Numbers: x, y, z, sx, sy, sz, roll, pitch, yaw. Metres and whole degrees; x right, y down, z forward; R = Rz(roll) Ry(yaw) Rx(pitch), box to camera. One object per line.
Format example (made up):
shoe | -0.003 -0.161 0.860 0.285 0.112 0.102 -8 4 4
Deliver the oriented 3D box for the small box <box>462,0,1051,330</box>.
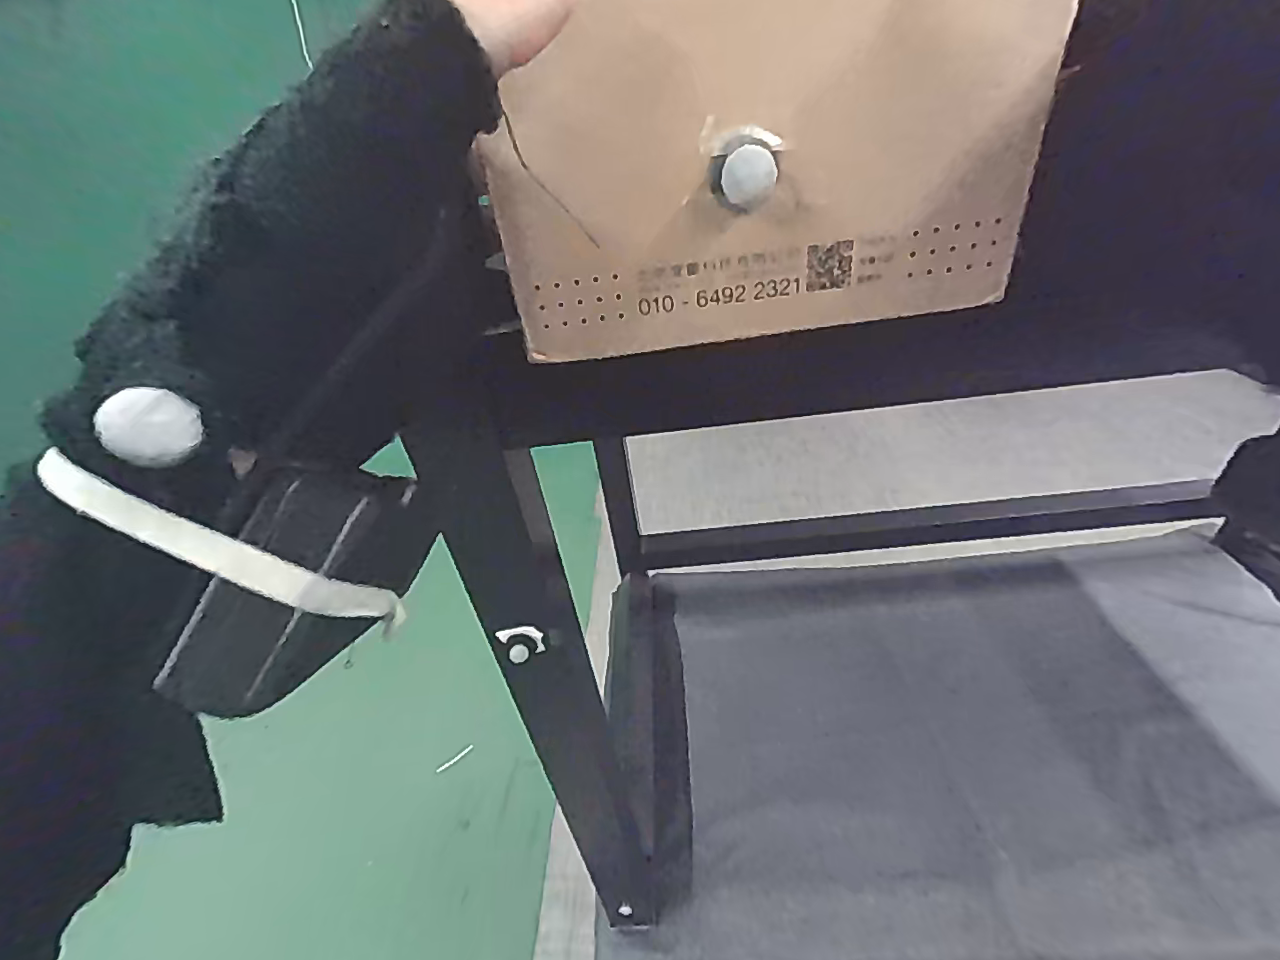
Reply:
small box | 0.029 -0.171 0.216 0.168 0.176 0.179 -7 33 2
